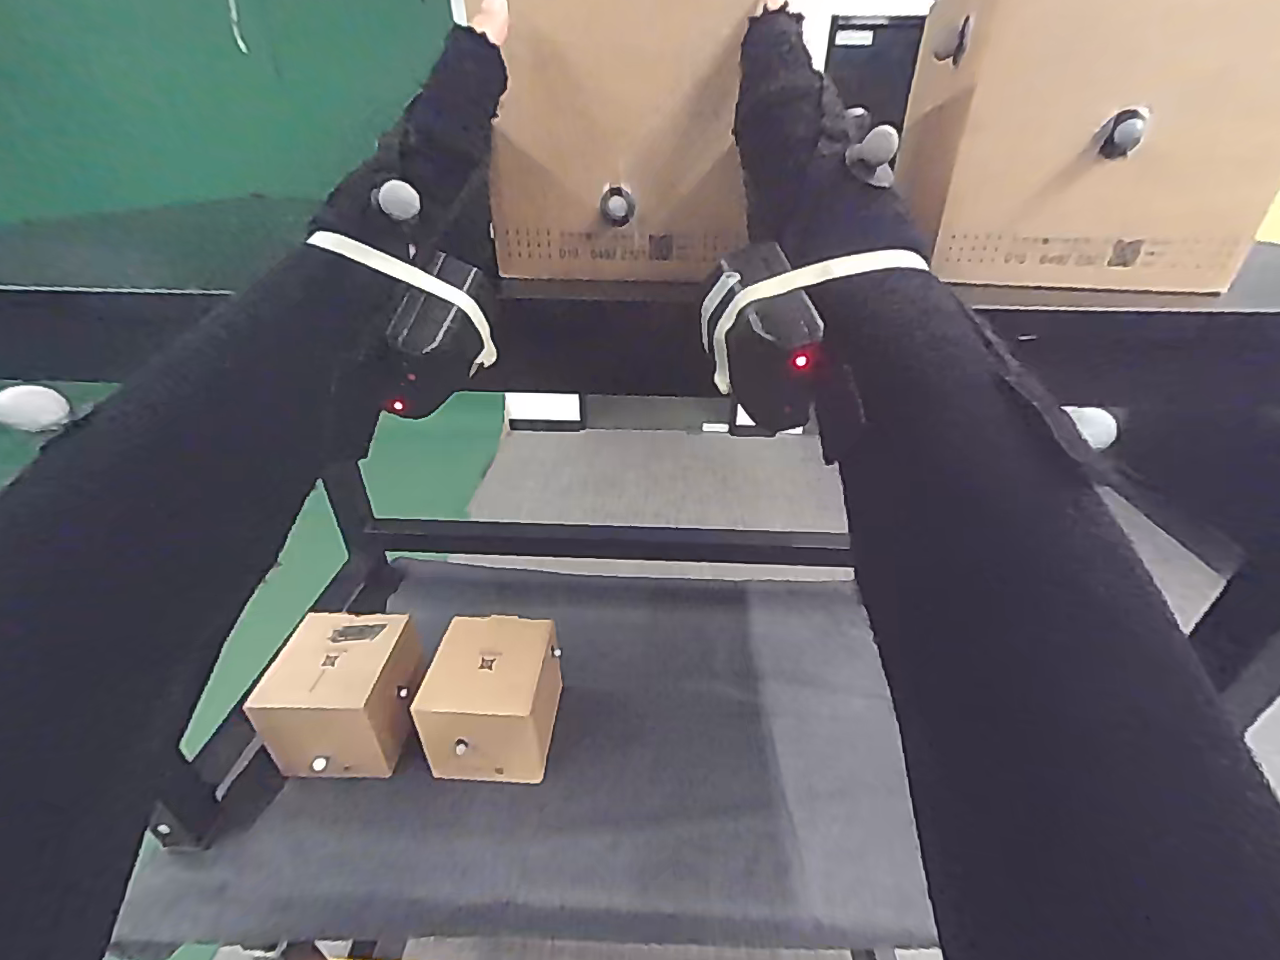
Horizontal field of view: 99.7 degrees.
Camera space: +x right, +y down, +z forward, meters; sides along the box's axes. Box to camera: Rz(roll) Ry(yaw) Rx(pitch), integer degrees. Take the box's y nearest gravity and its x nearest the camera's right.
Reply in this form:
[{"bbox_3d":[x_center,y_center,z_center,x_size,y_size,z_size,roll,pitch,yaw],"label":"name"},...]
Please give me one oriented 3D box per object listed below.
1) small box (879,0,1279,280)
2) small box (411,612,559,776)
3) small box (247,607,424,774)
[{"bbox_3d":[0.273,-0.236,0.358,0.168,0.176,0.179,7,32,10],"label":"small box"},{"bbox_3d":[-0.223,0.328,0.835,0.168,0.176,0.179,2,31,2],"label":"small box"},{"bbox_3d":[-0.450,0.321,0.838,0.168,0.176,0.179,1,32,0],"label":"small box"}]
